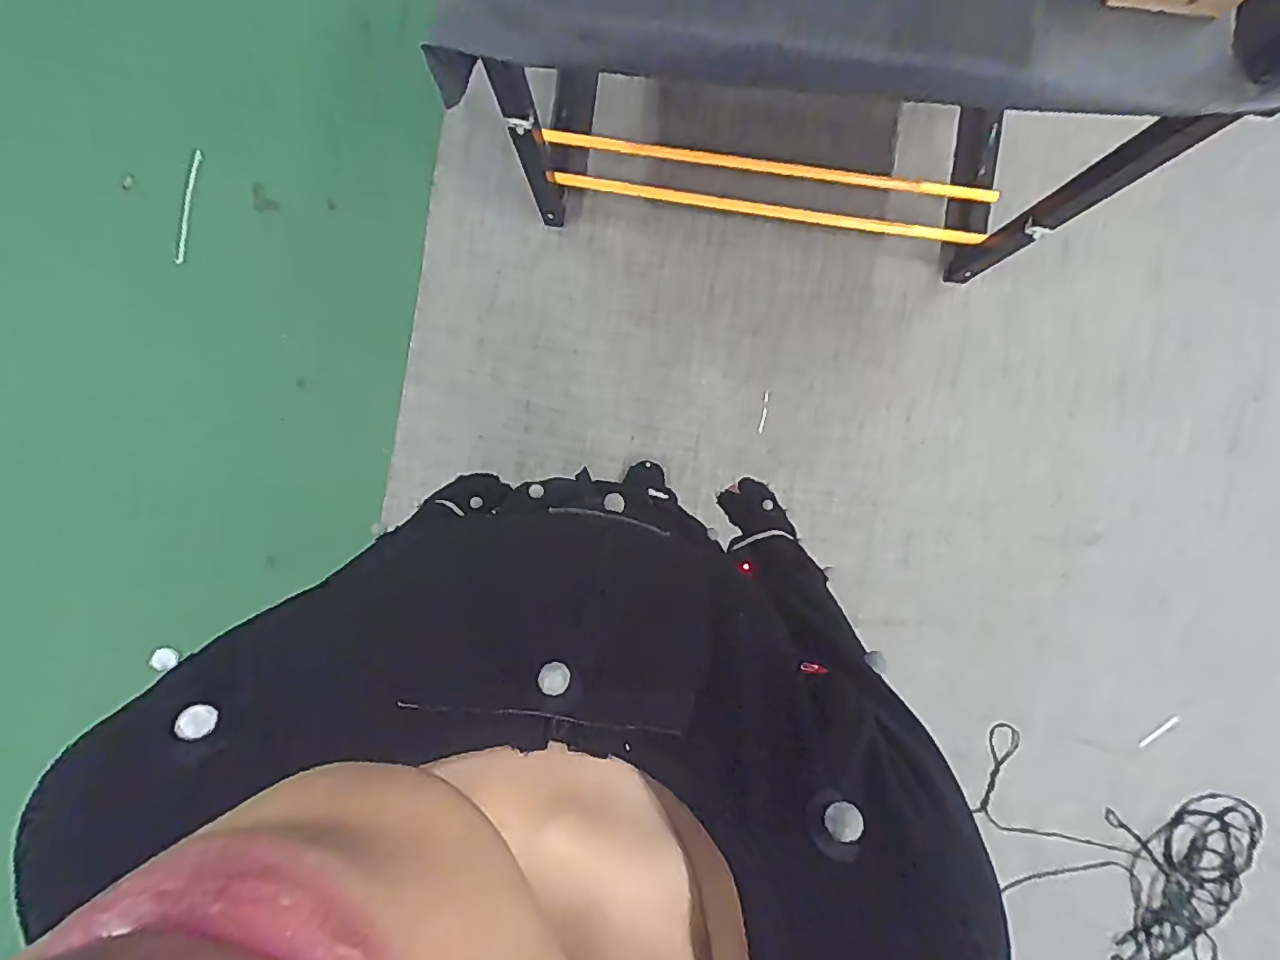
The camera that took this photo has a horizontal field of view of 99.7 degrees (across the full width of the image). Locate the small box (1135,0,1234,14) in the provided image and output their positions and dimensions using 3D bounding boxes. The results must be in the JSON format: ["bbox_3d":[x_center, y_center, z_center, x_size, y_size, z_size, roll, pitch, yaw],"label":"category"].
[{"bbox_3d":[0.745,-0.743,0.680,0.168,0.176,0.179,6,89,0],"label":"small box"}]
